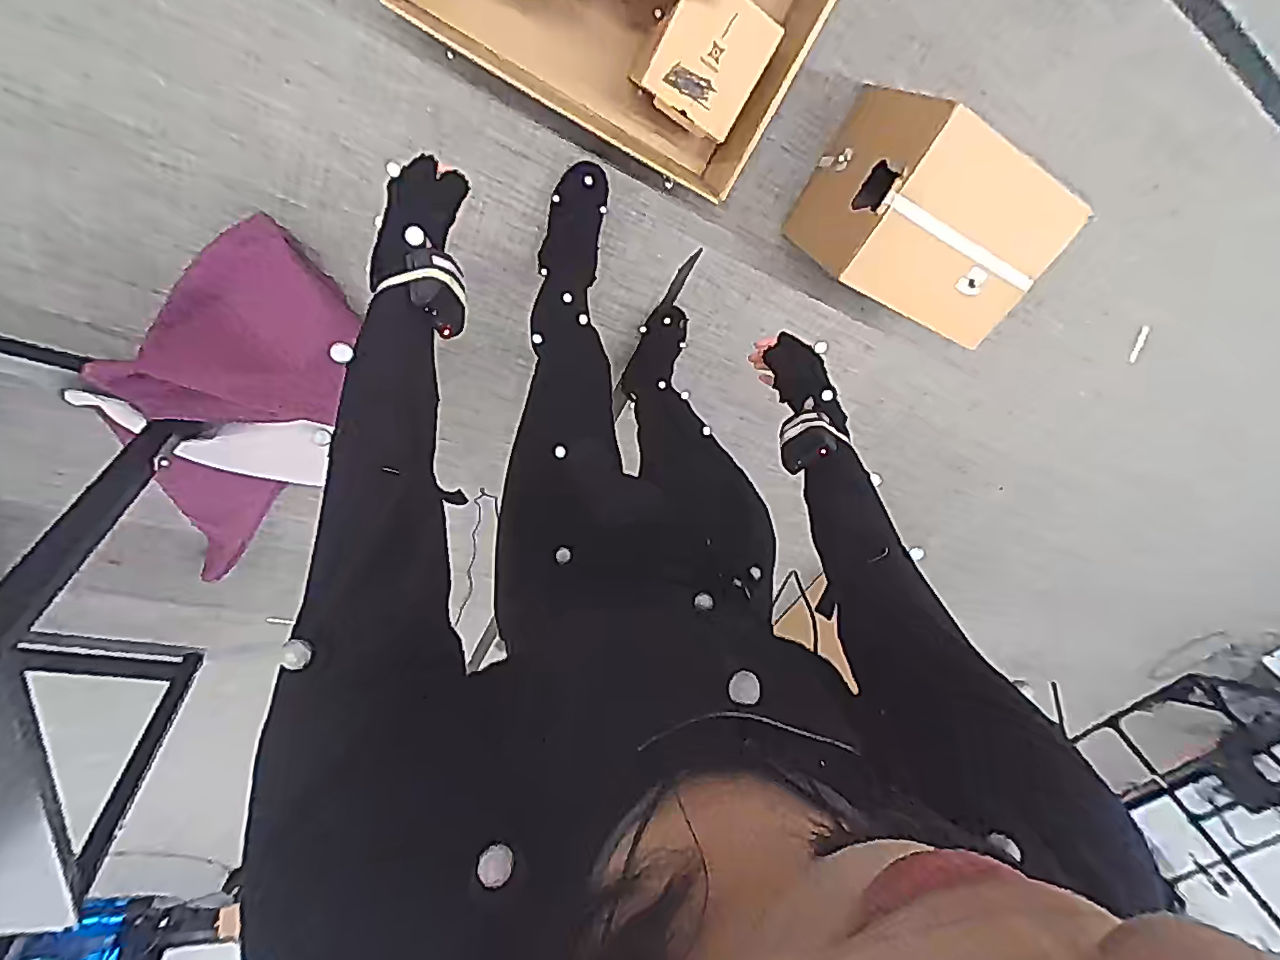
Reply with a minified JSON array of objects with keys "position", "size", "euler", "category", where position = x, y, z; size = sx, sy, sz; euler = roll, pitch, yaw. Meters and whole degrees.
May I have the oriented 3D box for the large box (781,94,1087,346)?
[{"position":[0.583,-0.540,1.138],"size":[0.408,0.320,0.320],"euler":[15,125,-24],"category":"large box"}]
